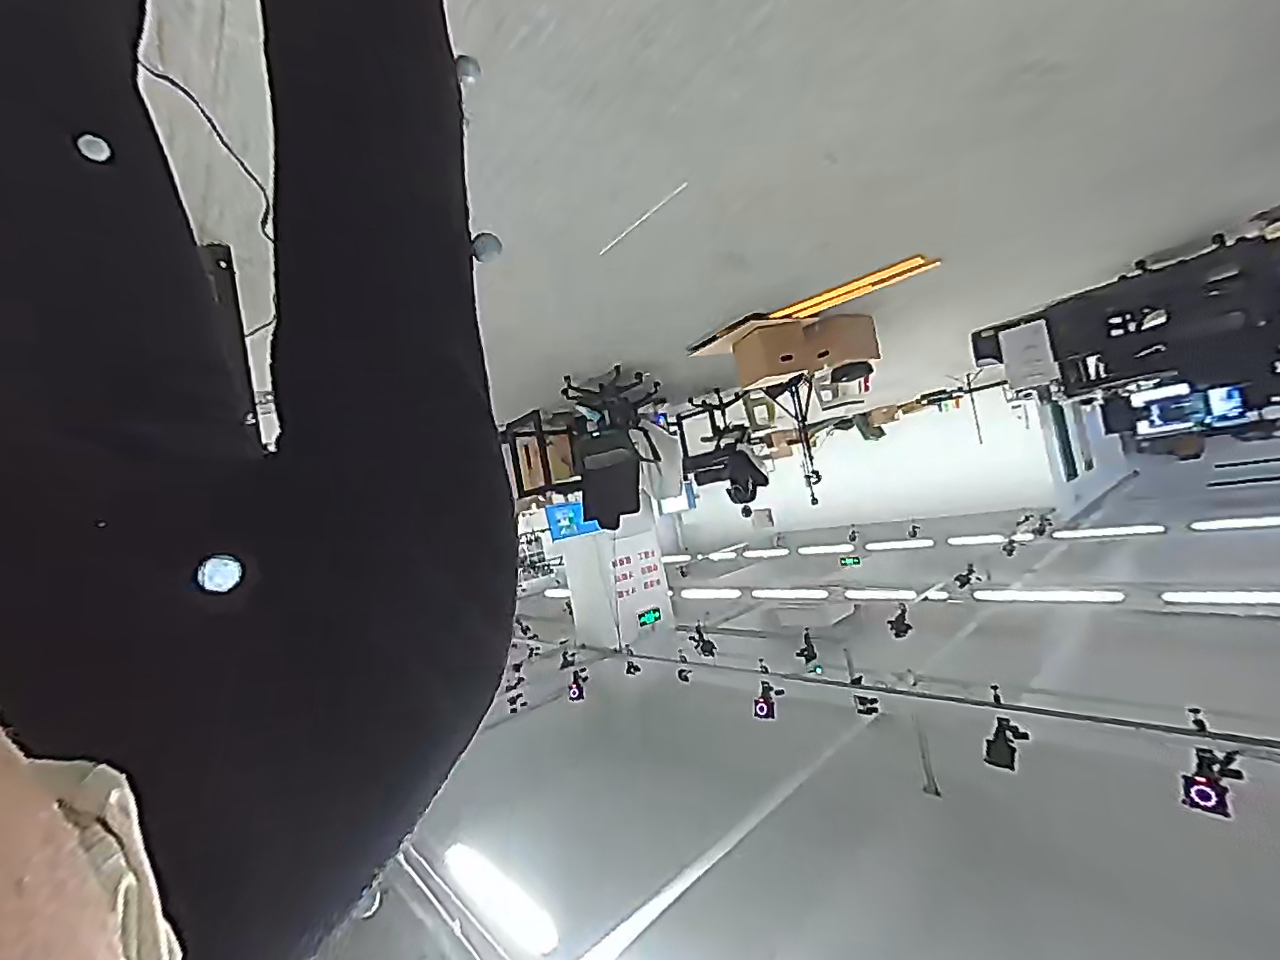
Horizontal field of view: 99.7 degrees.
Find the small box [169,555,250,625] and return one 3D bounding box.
[{"bbox_3d":[-1.271,0.320,1.604,0.168,0.176,0.179,-9,177,-35],"label":"small box"}]
